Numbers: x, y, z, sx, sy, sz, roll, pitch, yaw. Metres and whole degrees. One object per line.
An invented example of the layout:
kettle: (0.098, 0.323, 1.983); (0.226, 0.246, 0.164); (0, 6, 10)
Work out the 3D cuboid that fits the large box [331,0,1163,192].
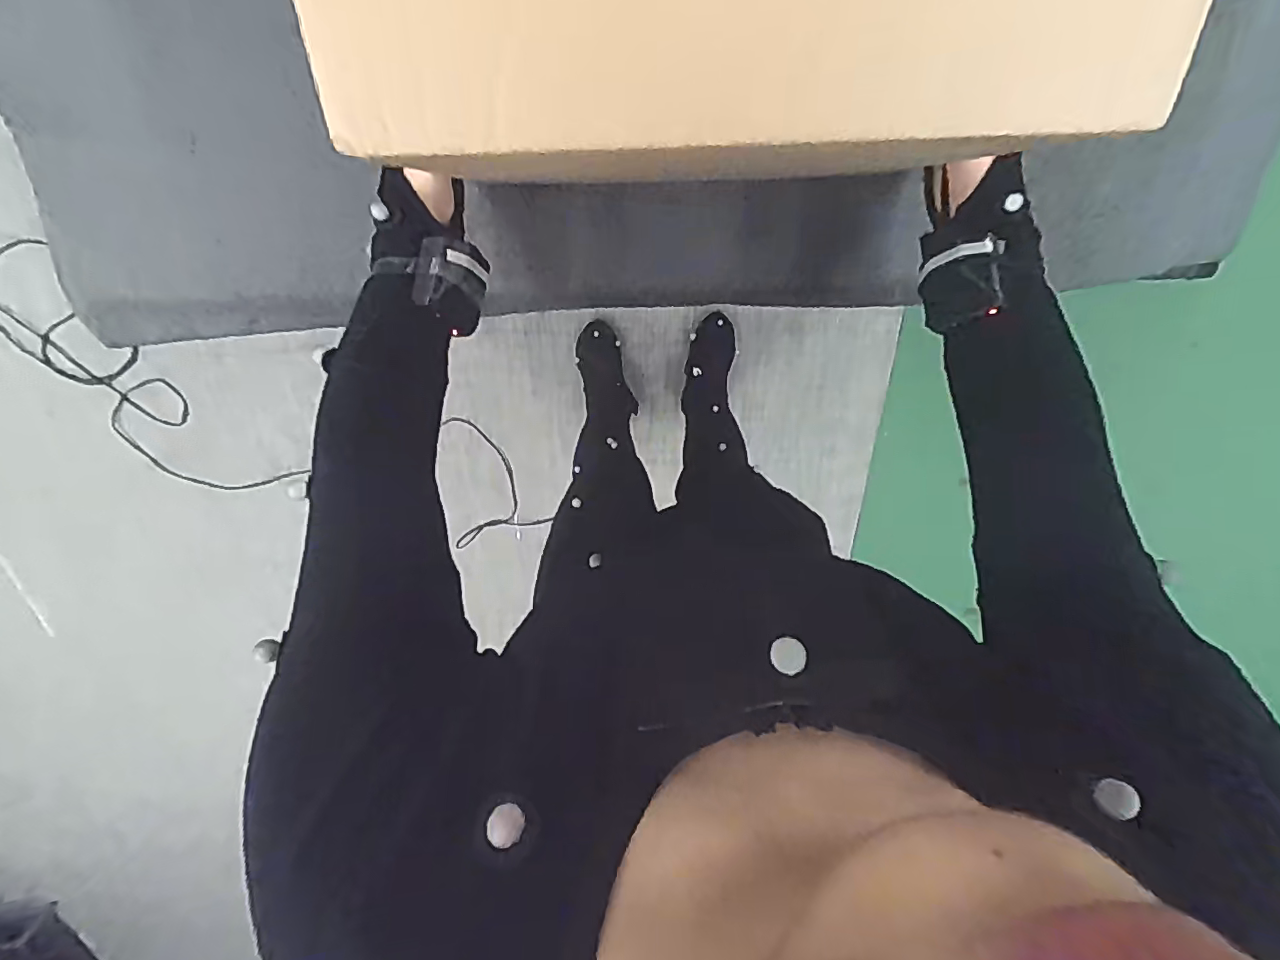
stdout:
large box: (0.043, -0.377, 0.348); (0.408, 0.320, 0.320); (-3, 117, 0)
